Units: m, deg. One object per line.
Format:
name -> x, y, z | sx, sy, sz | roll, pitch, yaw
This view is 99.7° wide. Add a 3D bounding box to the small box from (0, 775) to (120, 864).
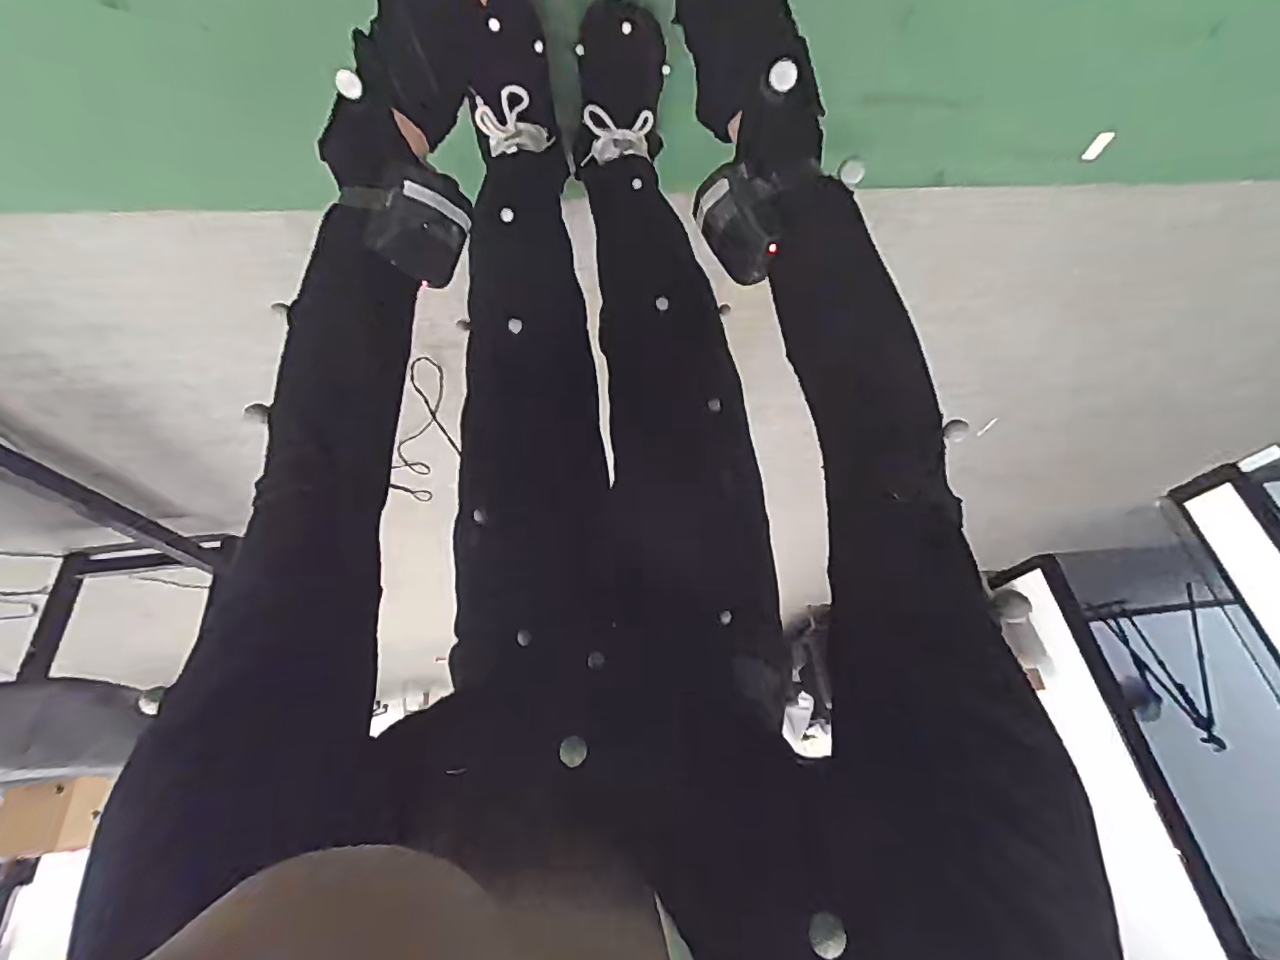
small box -> -1.503, 0.864, 1.382 | 0.168, 0.176, 0.179 | -4, 153, -8
